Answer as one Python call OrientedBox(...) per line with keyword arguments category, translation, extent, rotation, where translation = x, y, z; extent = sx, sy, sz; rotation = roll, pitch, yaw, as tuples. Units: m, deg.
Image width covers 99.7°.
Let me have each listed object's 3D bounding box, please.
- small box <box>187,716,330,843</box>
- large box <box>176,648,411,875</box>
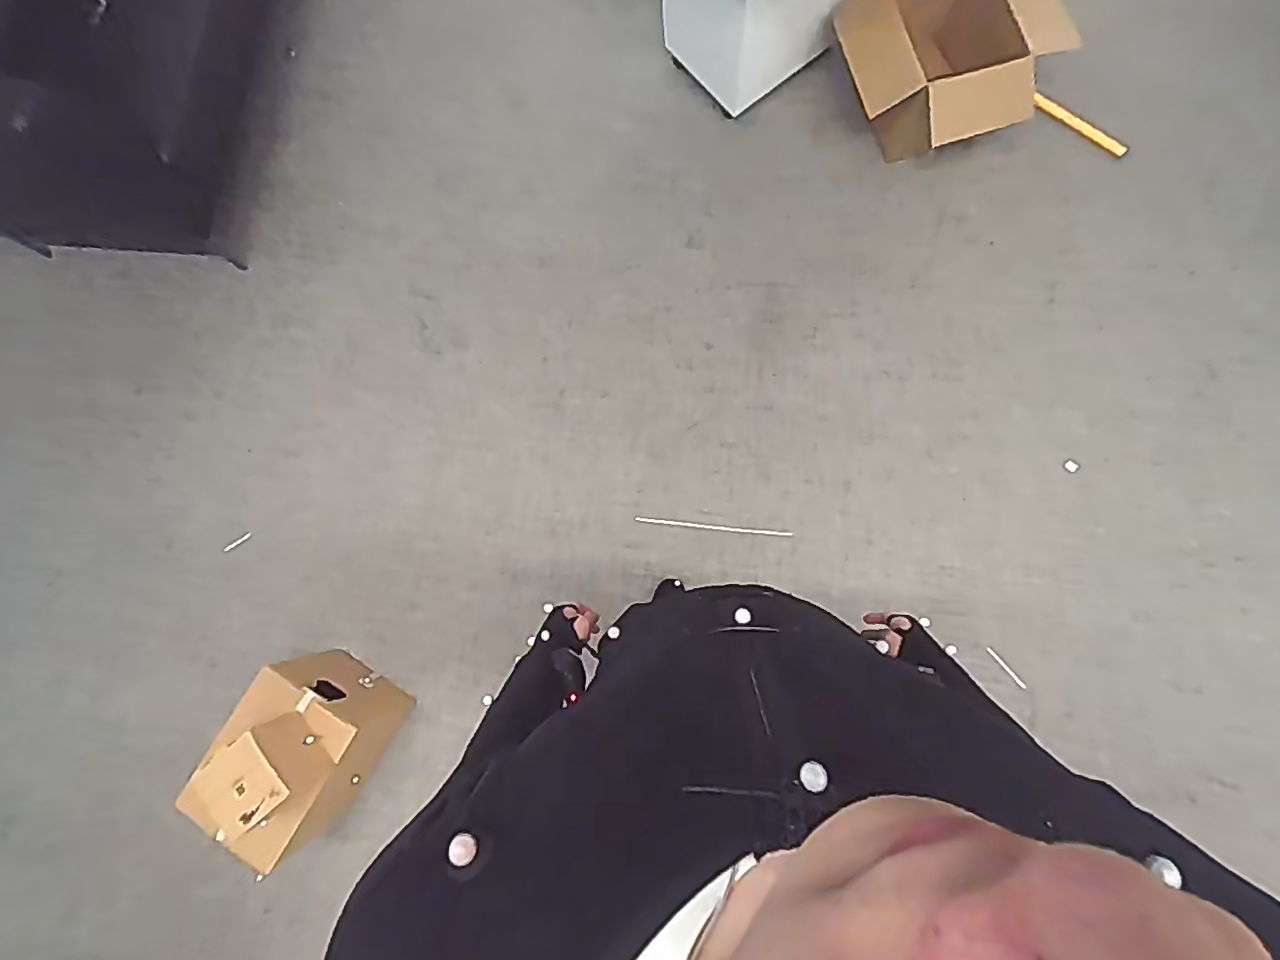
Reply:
OrientedBox(category="small box", translation=(-0.873, 0.676, 1.252), extent=(0.168, 0.176, 0.179), rotation=(-40, 81, -3))
OrientedBox(category="large box", translation=(-0.924, 0.739, 1.496), extent=(0.320, 0.320, 0.408), rotation=(29, 85, 9))
